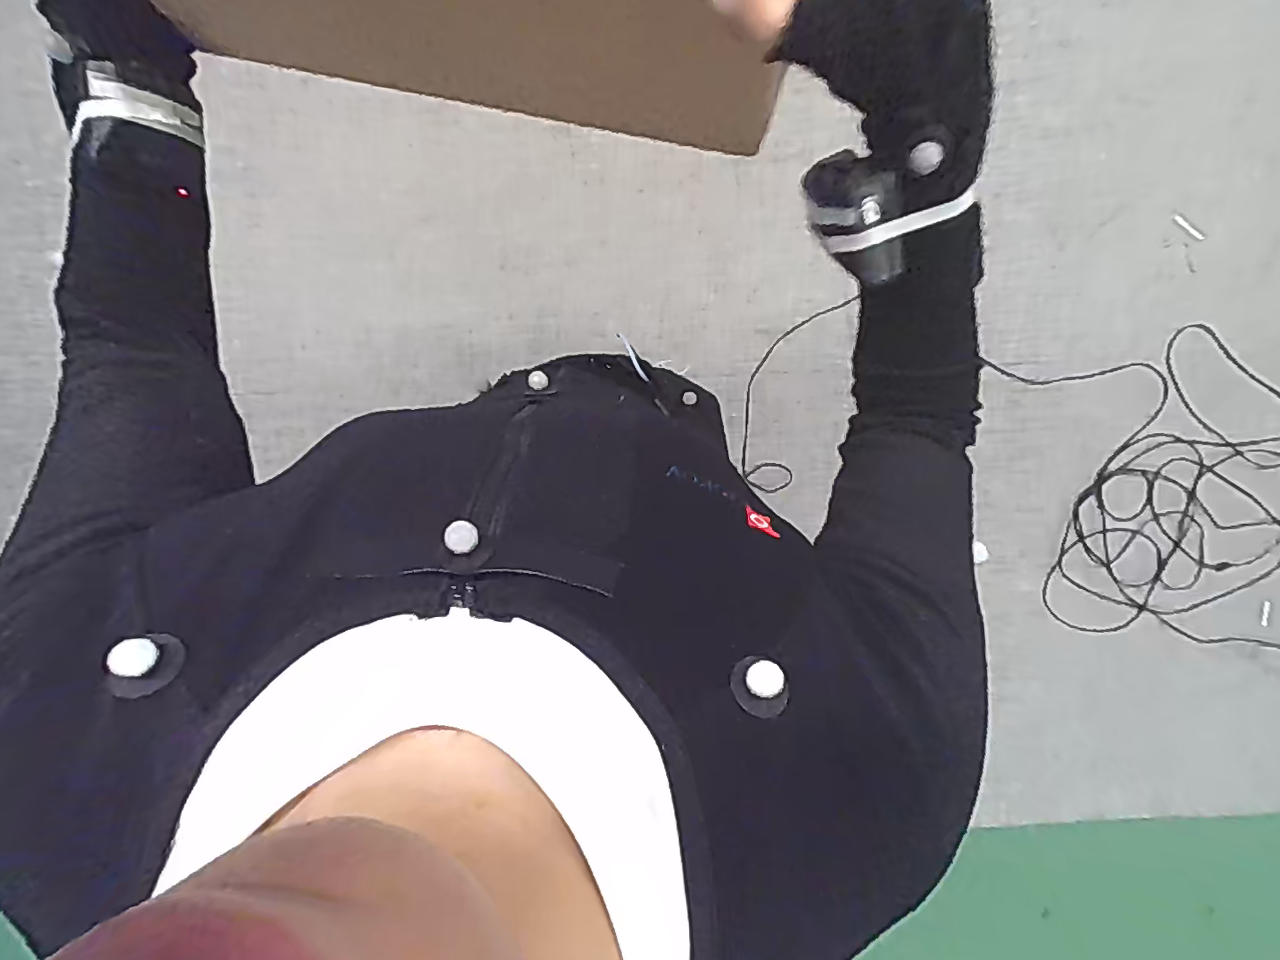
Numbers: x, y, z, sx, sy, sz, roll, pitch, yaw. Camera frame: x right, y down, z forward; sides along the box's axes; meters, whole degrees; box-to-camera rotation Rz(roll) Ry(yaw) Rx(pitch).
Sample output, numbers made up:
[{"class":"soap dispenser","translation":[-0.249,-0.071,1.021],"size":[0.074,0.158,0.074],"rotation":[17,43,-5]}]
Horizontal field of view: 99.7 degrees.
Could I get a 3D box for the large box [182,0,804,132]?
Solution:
[{"class":"large box","translation":[-0.086,-0.420,0.220],"size":[0.408,0.320,0.320],"rotation":[18,85,9]}]
